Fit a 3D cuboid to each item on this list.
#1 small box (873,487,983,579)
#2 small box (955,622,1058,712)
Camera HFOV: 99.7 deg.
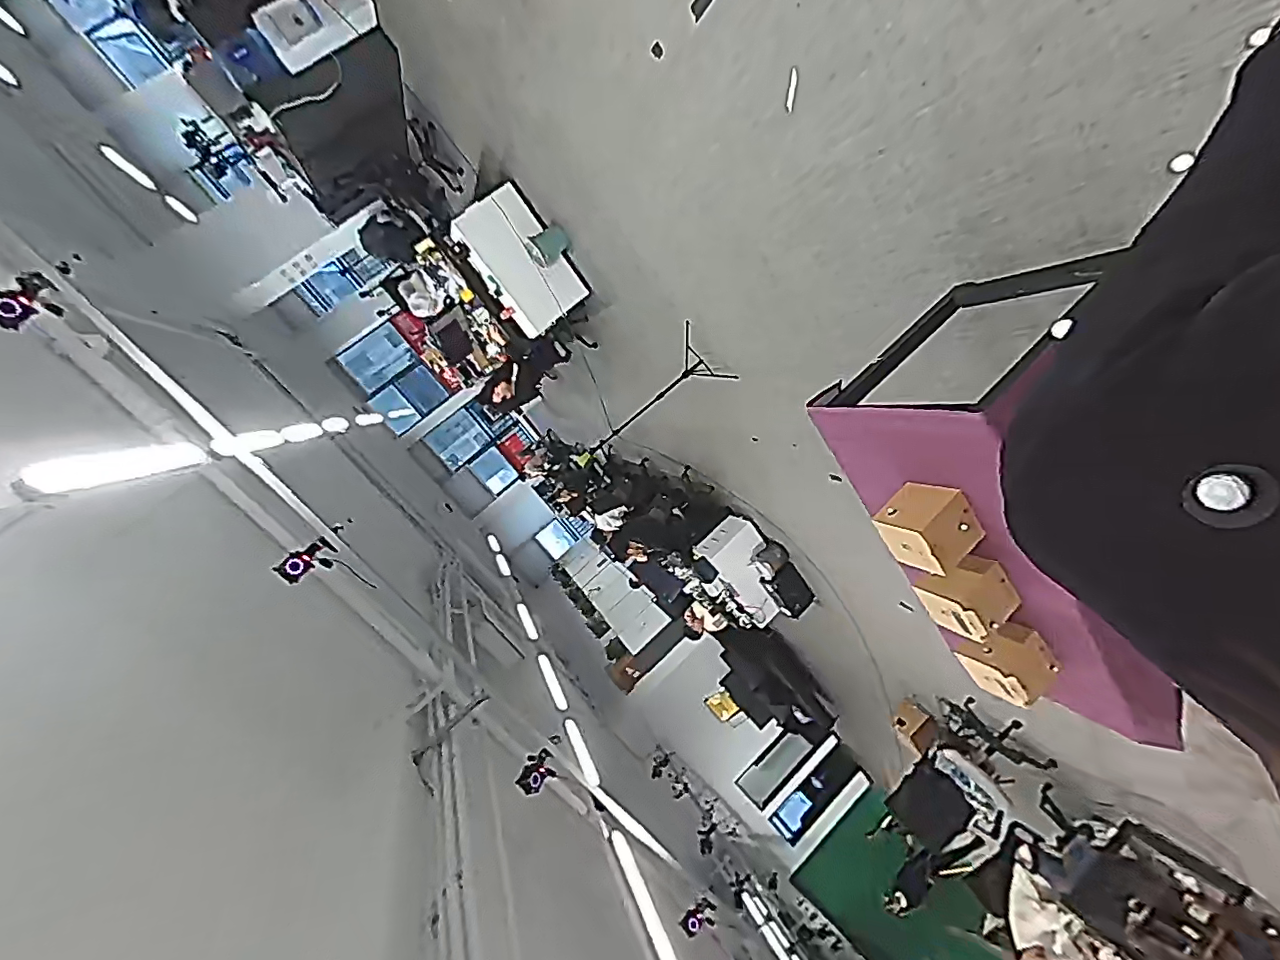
[{"bbox_3d":[0.789,0.138,1.483,0.168,0.176,0.179,52,169,-18],"label":"small box"},{"bbox_3d":[1.119,0.559,1.643,0.168,0.176,0.179,51,170,-9],"label":"small box"}]
